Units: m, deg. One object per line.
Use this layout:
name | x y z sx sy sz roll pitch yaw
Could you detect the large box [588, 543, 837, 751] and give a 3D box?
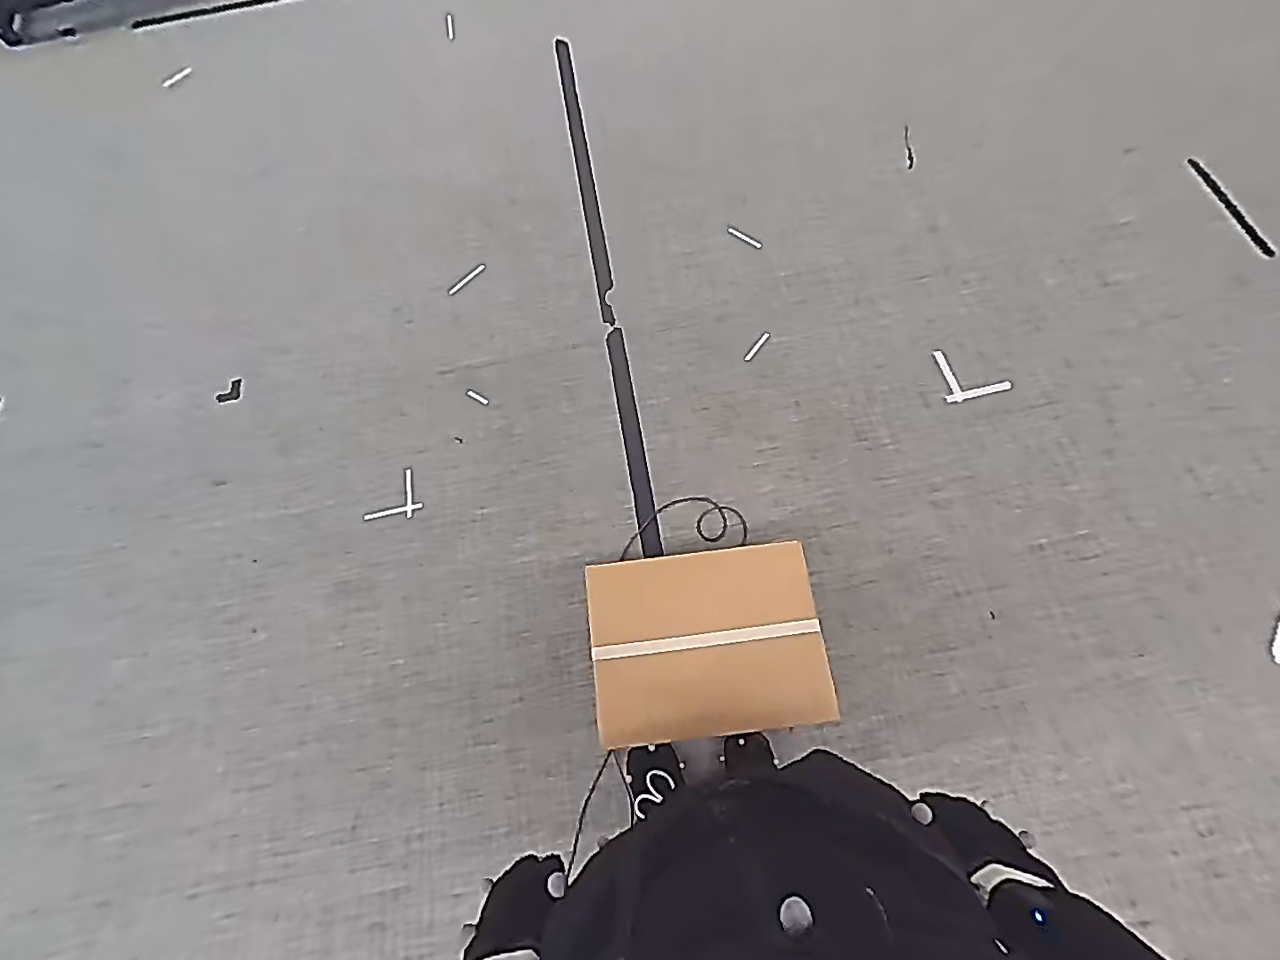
large box | 0.125 0.336 1.095 0.408 0.320 0.320 -7 68 0
